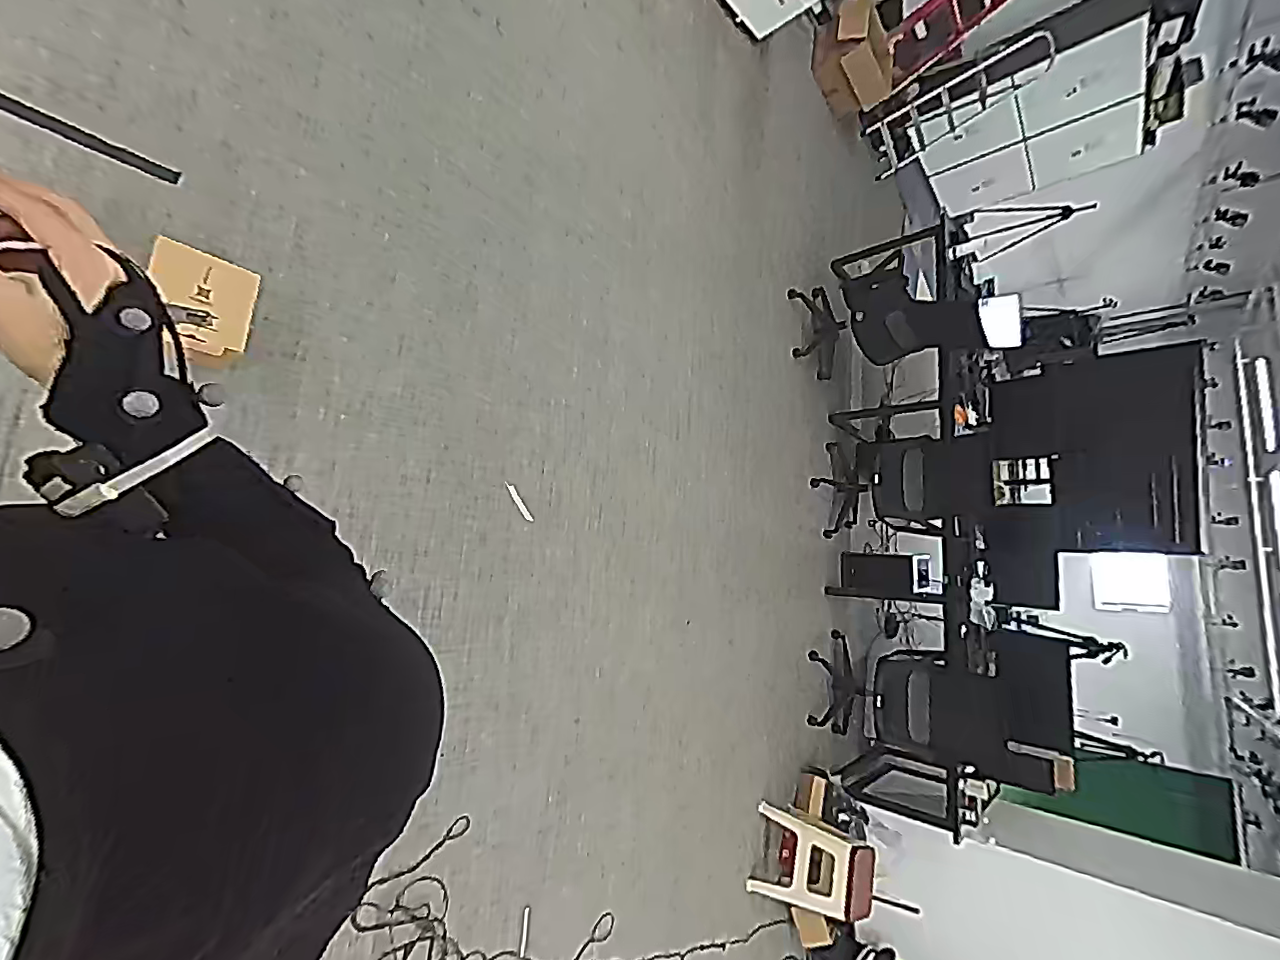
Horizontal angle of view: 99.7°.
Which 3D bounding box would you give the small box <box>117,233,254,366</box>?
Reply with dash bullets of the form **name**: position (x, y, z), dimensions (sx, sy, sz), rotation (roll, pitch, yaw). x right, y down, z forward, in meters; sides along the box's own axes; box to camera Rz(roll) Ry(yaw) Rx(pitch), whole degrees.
- **small box**: position (-0.899, -0.342, 1.068), dimensions (0.168, 0.176, 0.179), rotation (17, 74, -48)
